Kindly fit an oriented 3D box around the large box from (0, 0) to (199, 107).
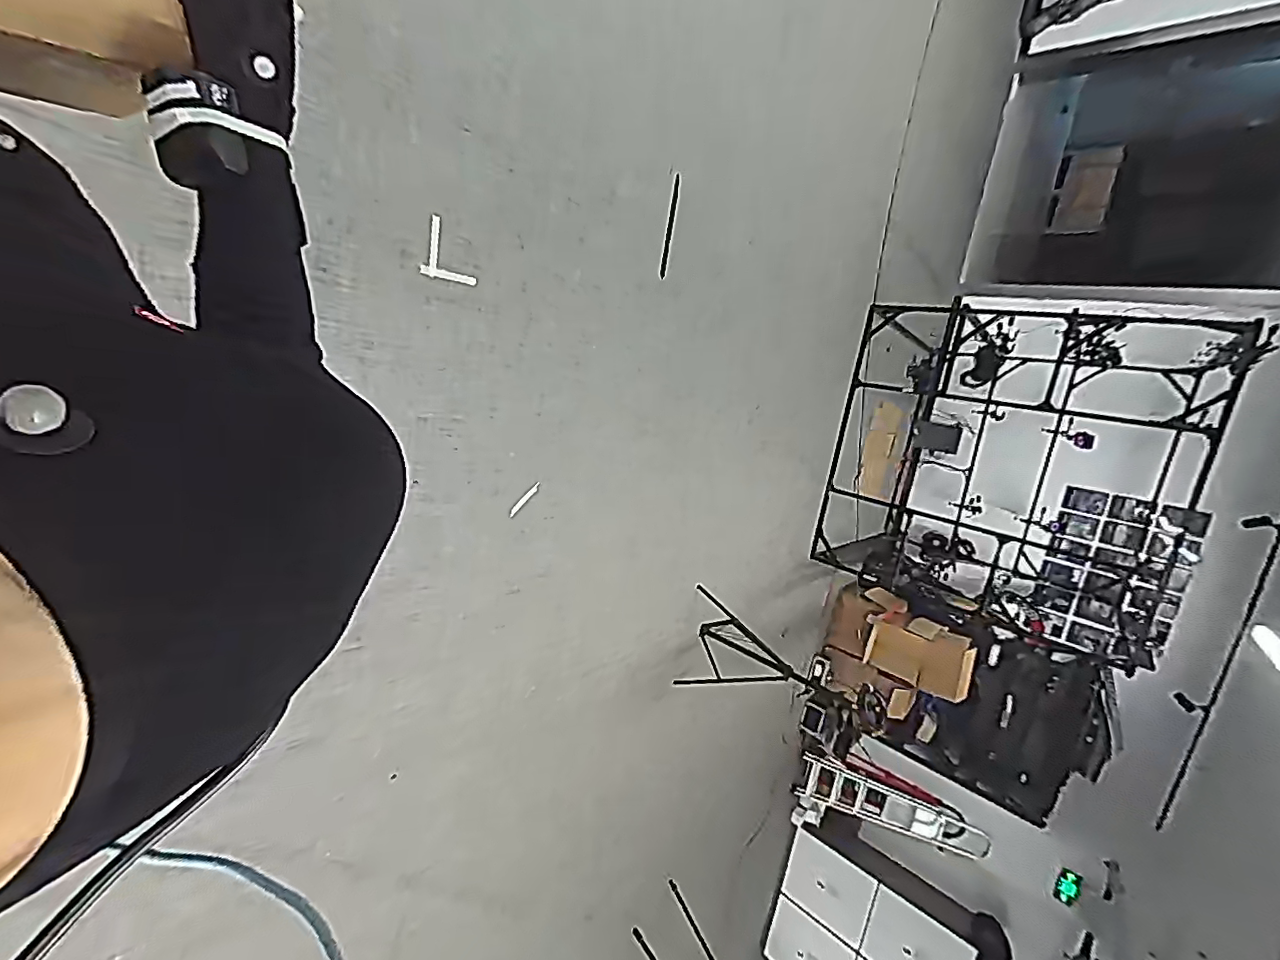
[{"bbox_3d":[-0.557,-0.454,0.296,0.408,0.320,0.320,-17,121,-48],"label":"large box"}]
